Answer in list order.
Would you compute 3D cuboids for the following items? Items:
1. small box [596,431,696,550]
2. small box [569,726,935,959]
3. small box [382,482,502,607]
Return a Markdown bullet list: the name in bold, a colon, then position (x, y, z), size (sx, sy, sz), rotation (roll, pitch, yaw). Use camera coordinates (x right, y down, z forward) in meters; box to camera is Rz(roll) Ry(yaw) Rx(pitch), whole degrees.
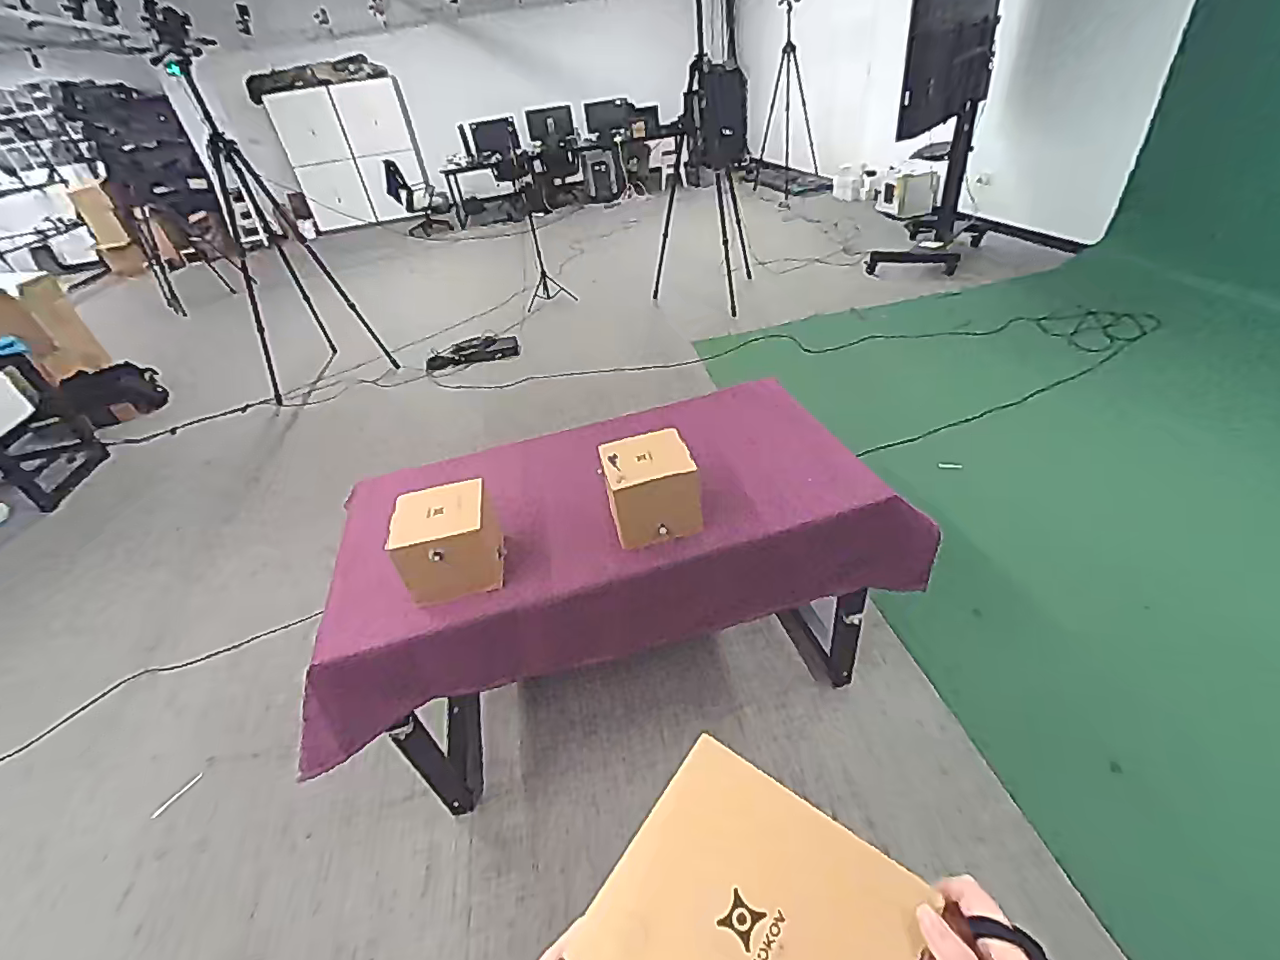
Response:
- **small box**: position (0.015, 0.023, 1.149), size (0.179, 0.176, 0.168), rotation (-13, 37, -6)
- **small box**: position (0.082, 0.326, 0.390), size (0.179, 0.176, 0.168), rotation (21, 53, 34)
- **small box**: position (-0.388, 0.132, 1.092), size (0.179, 0.176, 0.168), rotation (-12, 38, -5)
